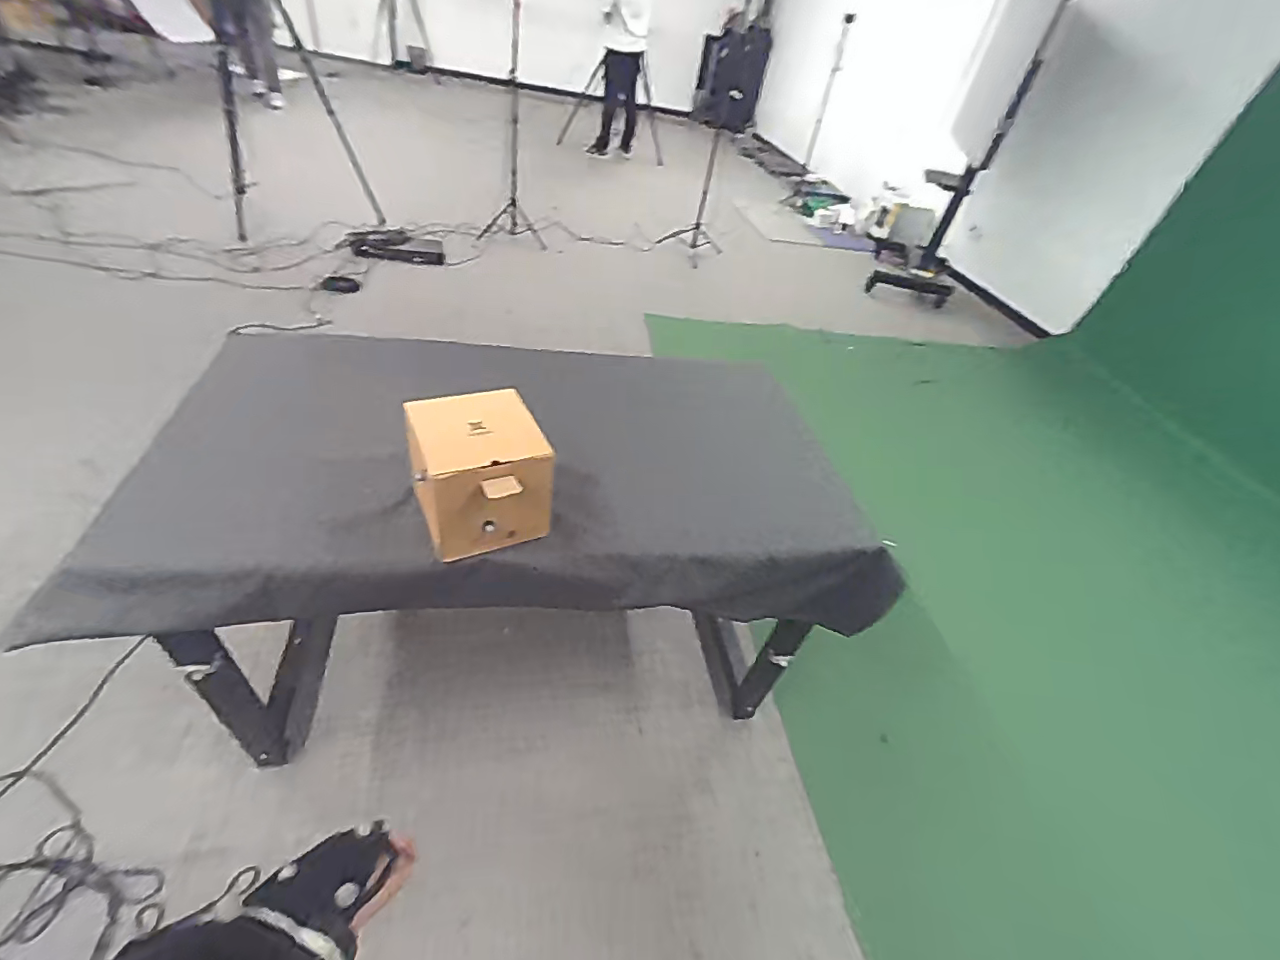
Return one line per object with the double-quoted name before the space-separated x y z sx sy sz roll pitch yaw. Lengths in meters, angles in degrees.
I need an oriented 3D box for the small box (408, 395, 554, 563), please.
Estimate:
"small box" -0.243 -0.005 0.816 0.168 0.176 0.179 -13 47 -28
